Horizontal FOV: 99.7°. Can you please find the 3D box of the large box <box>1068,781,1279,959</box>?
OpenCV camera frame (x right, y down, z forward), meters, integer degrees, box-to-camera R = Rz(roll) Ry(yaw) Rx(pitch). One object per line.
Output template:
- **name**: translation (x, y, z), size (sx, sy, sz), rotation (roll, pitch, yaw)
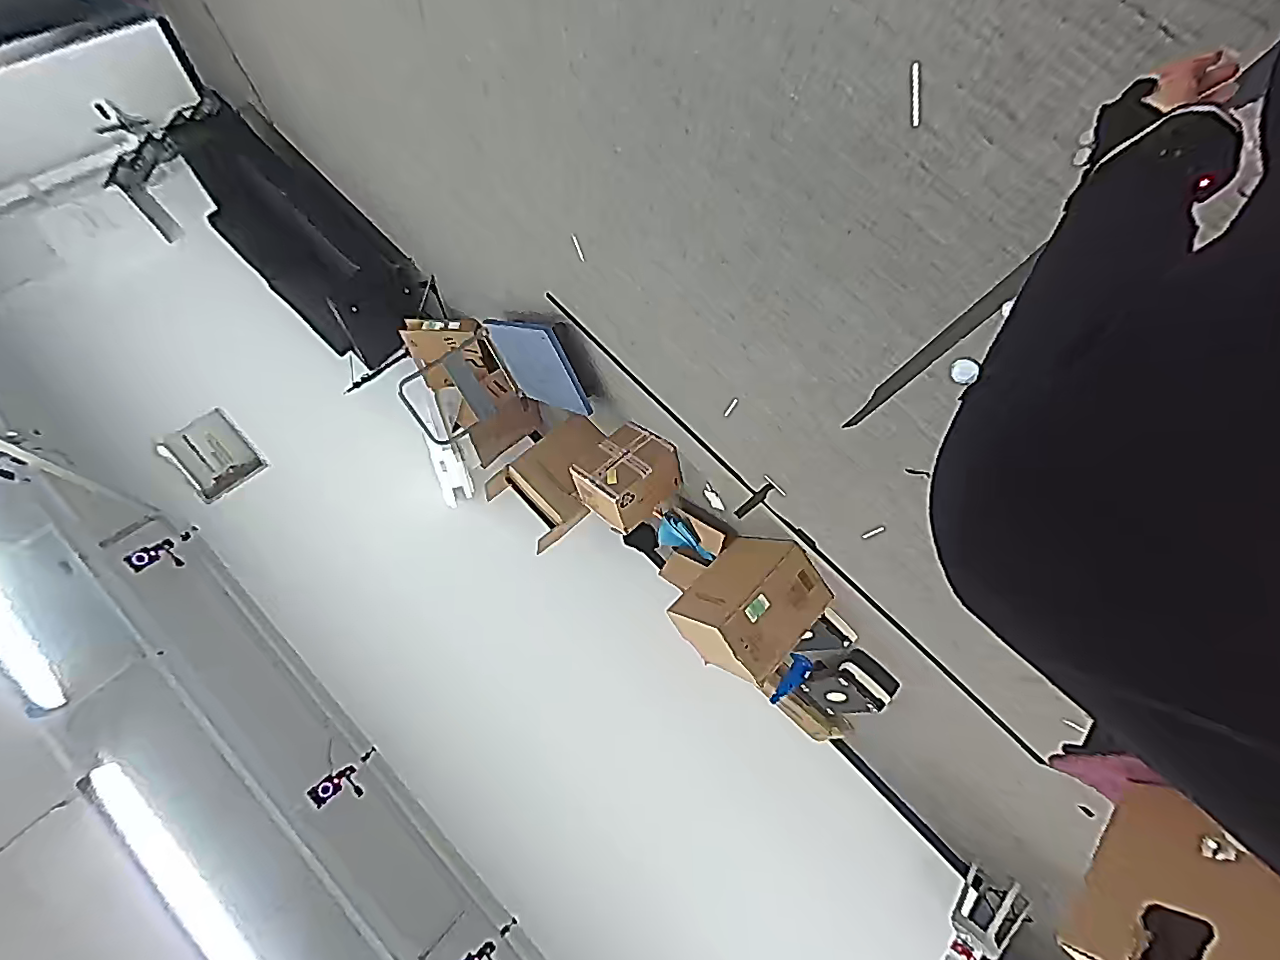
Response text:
- **large box**: translation (0.937, 0.699, 0.739), size (0.408, 0.320, 0.320), rotation (43, 159, 9)
